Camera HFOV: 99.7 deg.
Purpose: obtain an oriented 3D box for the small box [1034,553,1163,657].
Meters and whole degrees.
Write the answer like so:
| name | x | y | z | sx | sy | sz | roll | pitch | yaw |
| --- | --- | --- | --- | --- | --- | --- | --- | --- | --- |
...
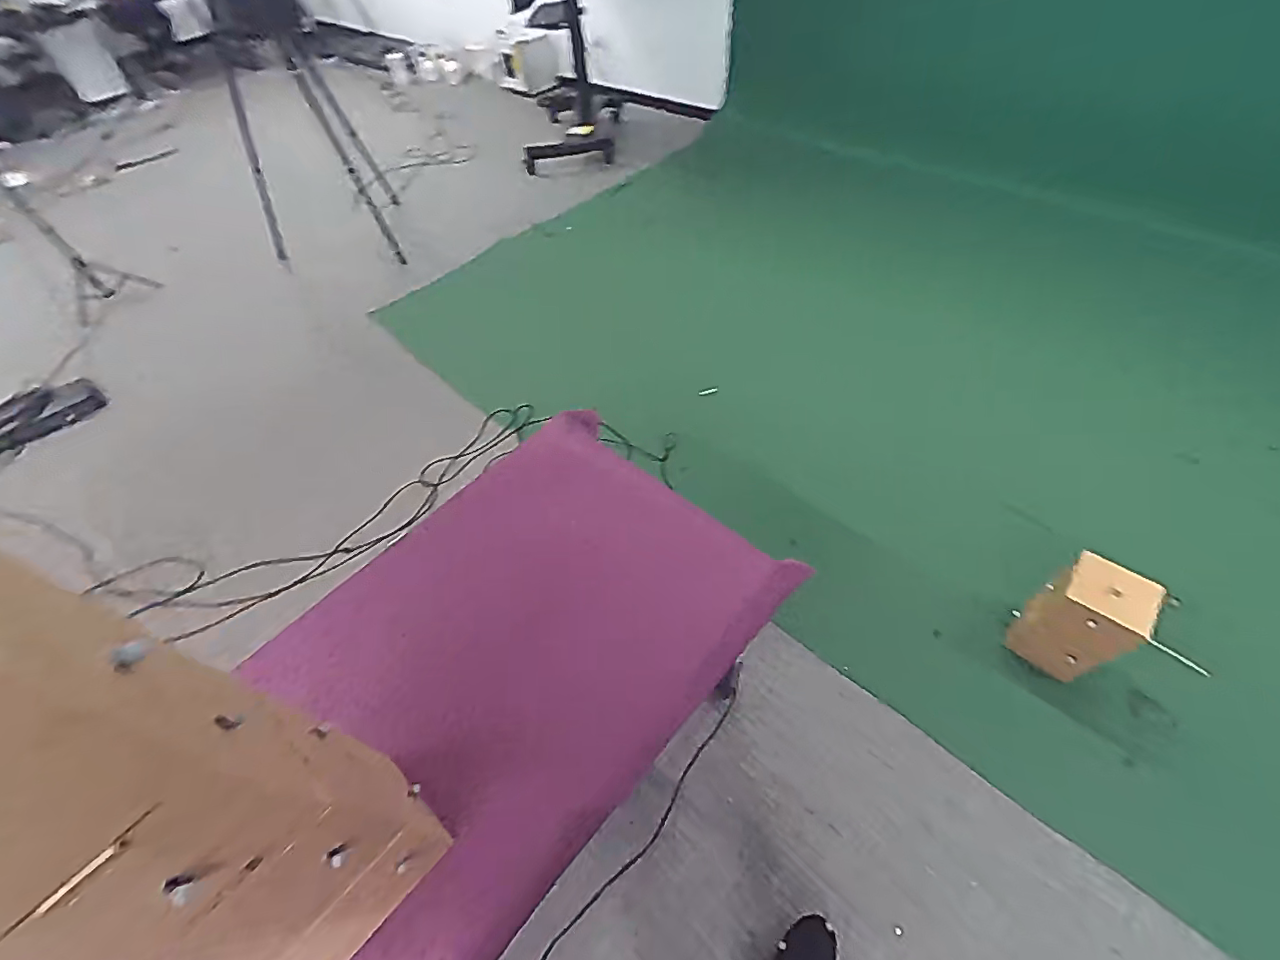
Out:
| name | x | y | z | sx | sy | sz | roll | pitch | yaw |
| --- | --- | --- | --- | --- | --- | --- | --- | --- | --- |
| small box | 1.154 | 0.324 | 1.370 | 0.179 | 0.176 | 0.168 | 31 | 61 | 28 |

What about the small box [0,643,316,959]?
| name | x | y | z | sx | sy | sz | roll | pitch | yaw |
| --- | --- | --- | --- | --- | --- | --- | --- | --- | --- |
| small box | -0.412 | 0.257 | 0.440 | 0.179 | 0.176 | 0.168 | 32 | 60 | 27 |

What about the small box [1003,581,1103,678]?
| name | x | y | z | sx | sy | sz | roll | pitch | yaw |
| --- | --- | --- | --- | --- | --- | --- | --- | --- | --- |
| small box | 1.160 | 0.422 | 1.500 | 0.179 | 0.176 | 0.168 | 34 | 62 | 28 |

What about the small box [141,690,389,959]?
| name | x | y | z | sx | sy | sz | roll | pitch | yaw |
| --- | --- | --- | --- | --- | --- | --- | --- | --- | --- |
| small box | -0.395 | 0.362 | 0.564 | 0.168 | 0.176 | 0.179 | 33 | 61 | 28 |

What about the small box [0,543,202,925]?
| name | x | y | z | sx | sy | sz | roll | pitch | yaw |
| --- | --- | --- | --- | --- | --- | --- | --- | --- | --- |
| small box | -0.420 | 0.154 | 0.312 | 0.168 | 0.176 | 0.179 | 31 | 59 | 27 |
